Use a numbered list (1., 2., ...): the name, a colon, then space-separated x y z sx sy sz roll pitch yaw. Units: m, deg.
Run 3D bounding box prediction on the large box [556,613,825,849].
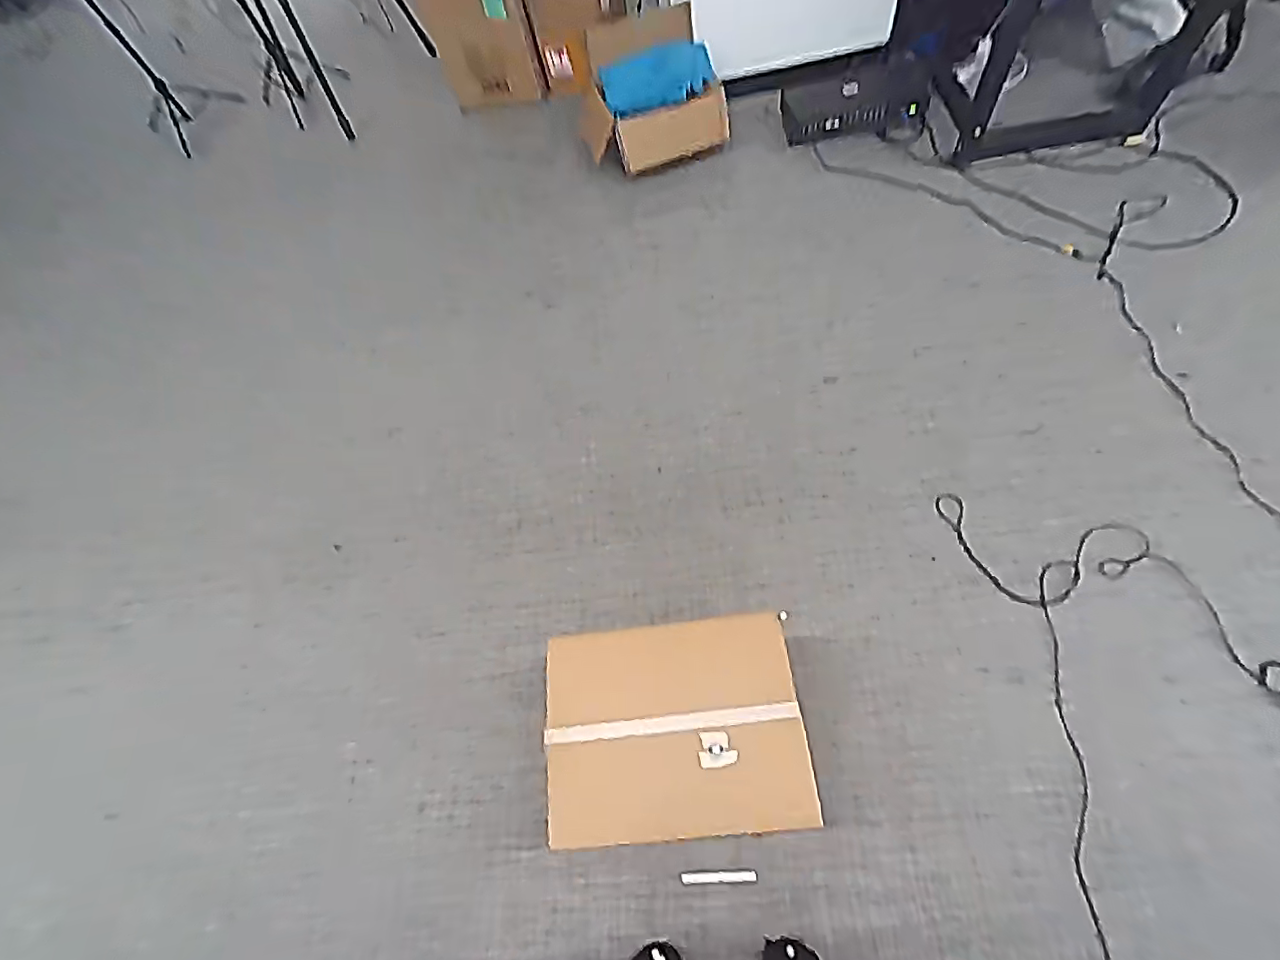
1. large box: 0.080 0.463 0.998 0.408 0.320 0.320 -8 61 5
